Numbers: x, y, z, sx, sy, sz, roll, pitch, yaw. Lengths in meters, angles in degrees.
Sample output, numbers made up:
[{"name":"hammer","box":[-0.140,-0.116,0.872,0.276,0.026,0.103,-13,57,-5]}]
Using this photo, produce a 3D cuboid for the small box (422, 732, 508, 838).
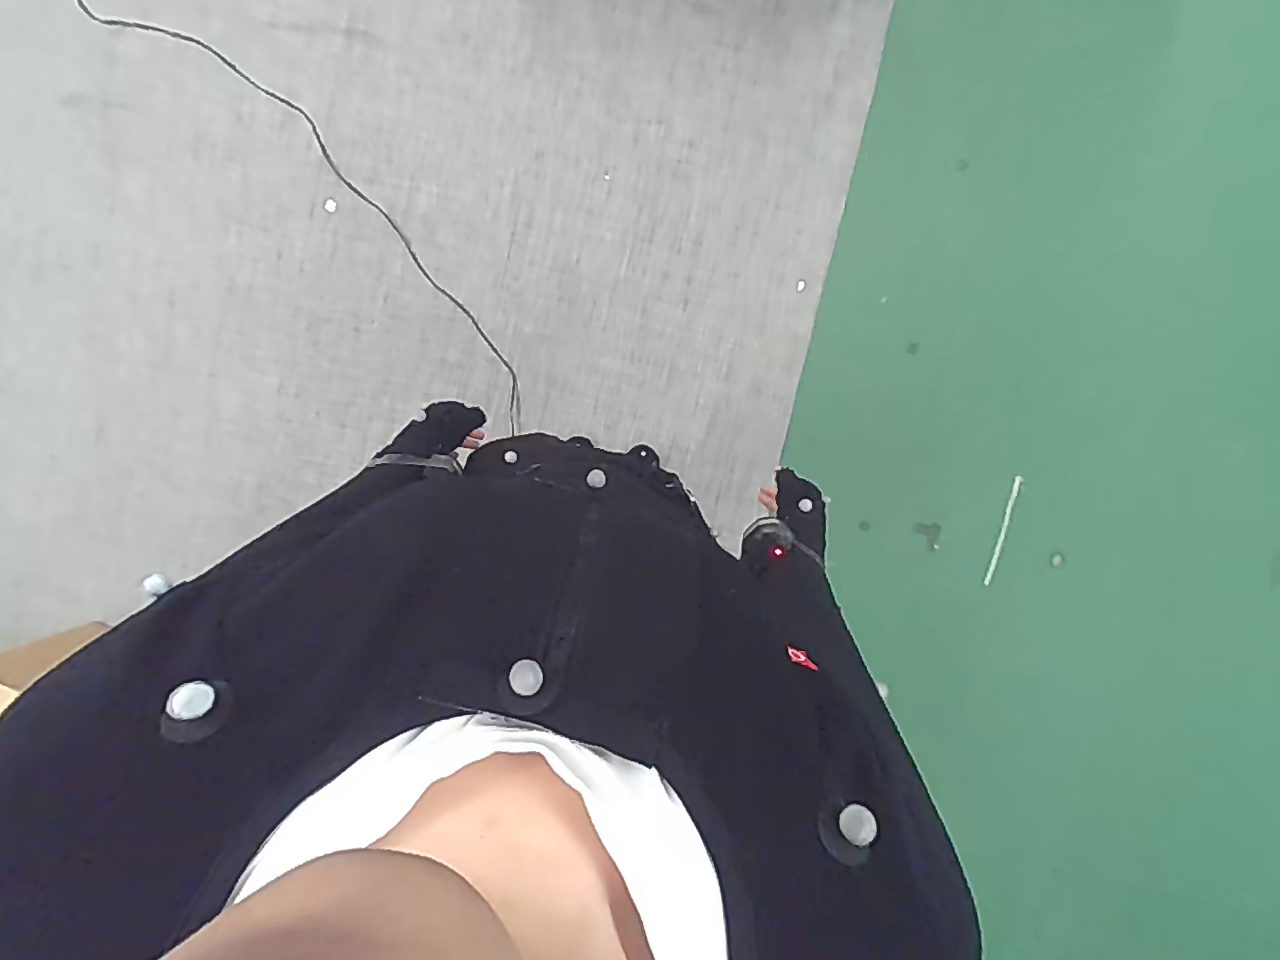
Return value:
[{"name":"small box","box":[-0.449,0.771,1.373,0.179,0.176,0.168,14,92,0]}]
